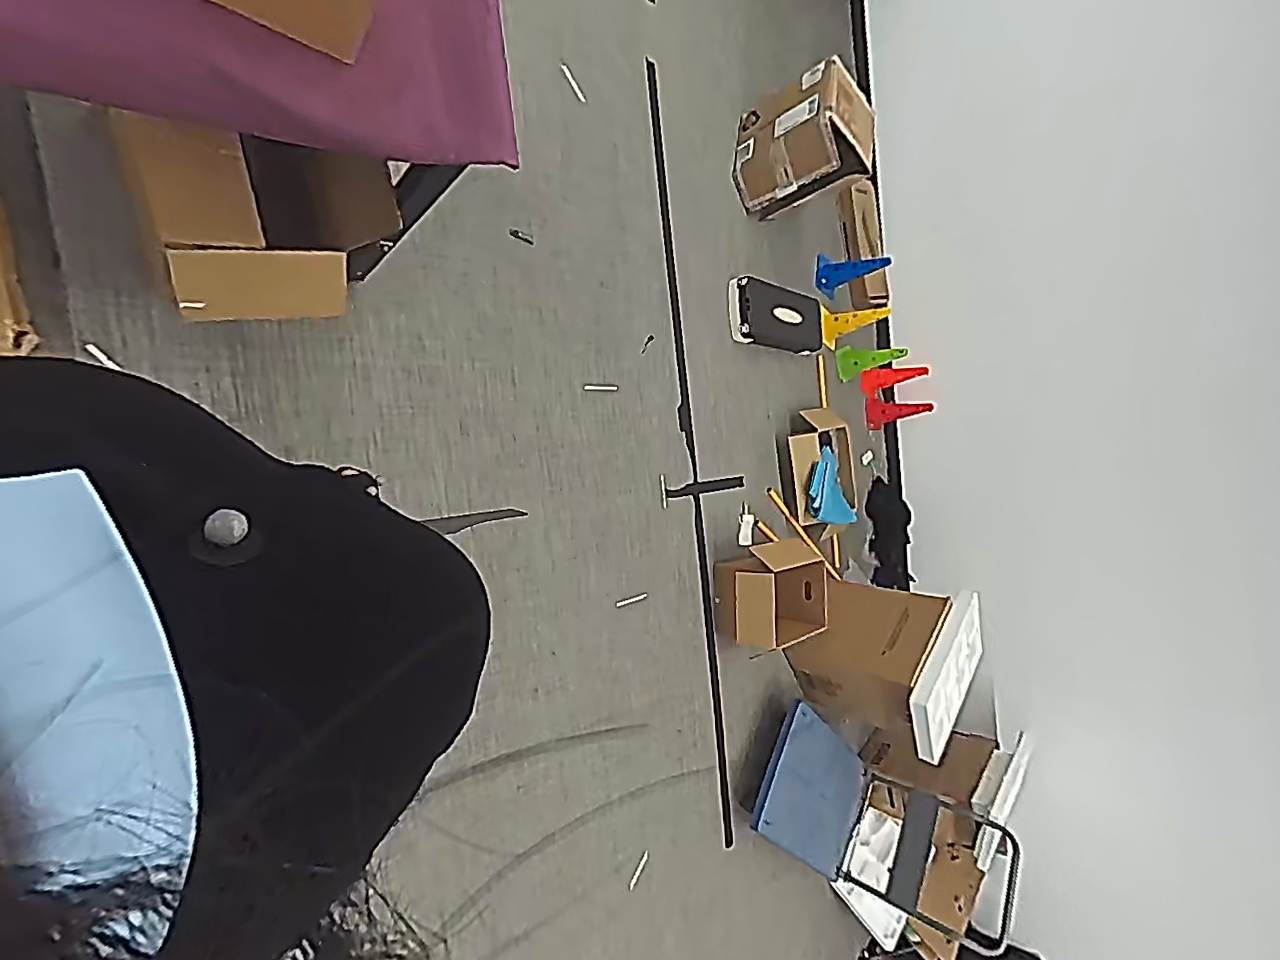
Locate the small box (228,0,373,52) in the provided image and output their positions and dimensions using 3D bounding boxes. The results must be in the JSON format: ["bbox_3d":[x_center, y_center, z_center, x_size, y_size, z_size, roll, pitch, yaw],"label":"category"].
[{"bbox_3d":[-0.410,-0.659,0.630,0.179,0.176,0.168,-1,89,-43],"label":"small box"}]
